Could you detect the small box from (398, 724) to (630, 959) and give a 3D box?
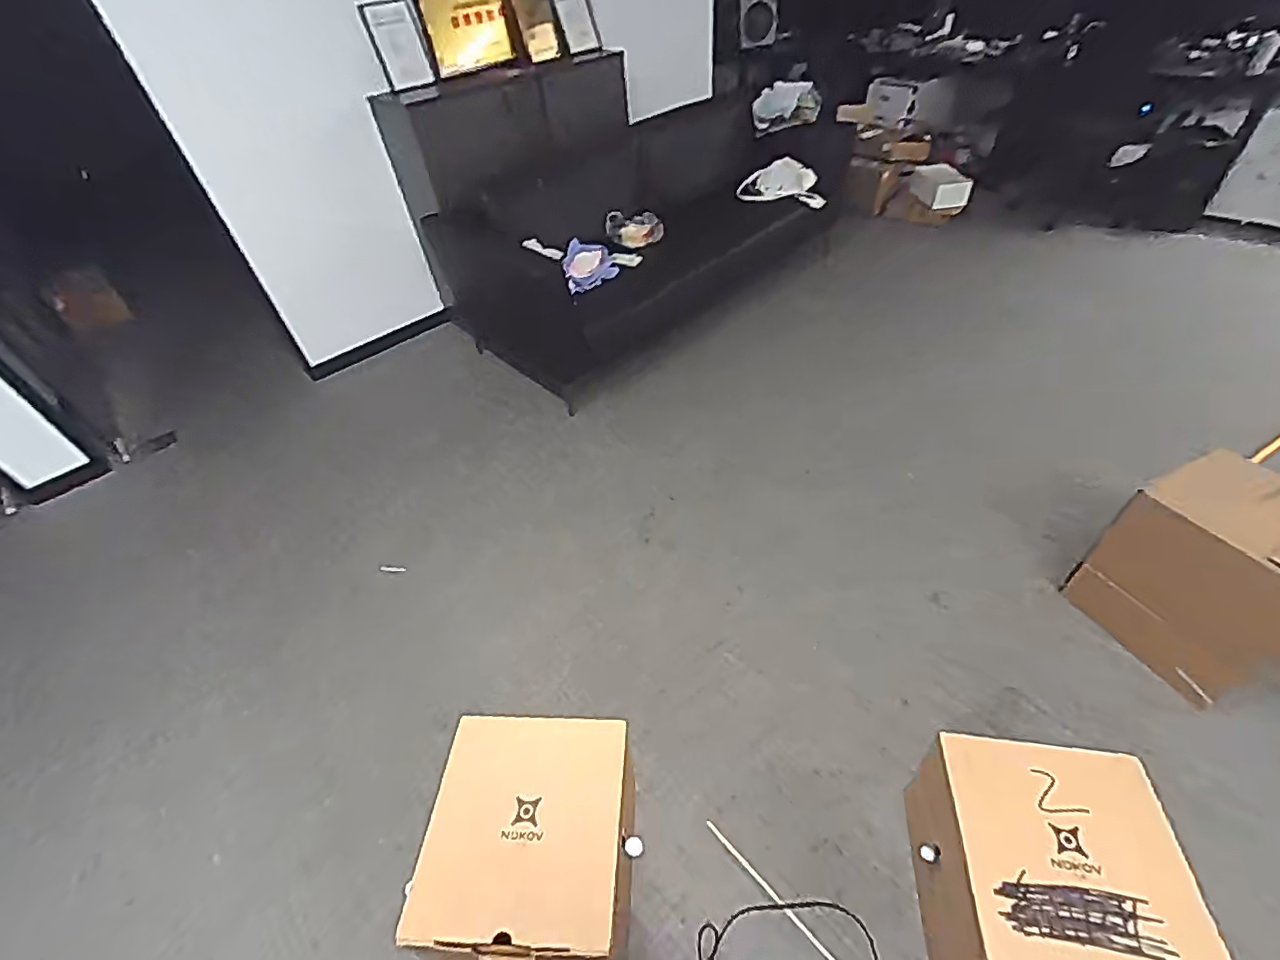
[{"bbox_3d":[-0.098,0.361,0.520,0.168,0.176,0.179,0,41,3],"label":"small box"}]
